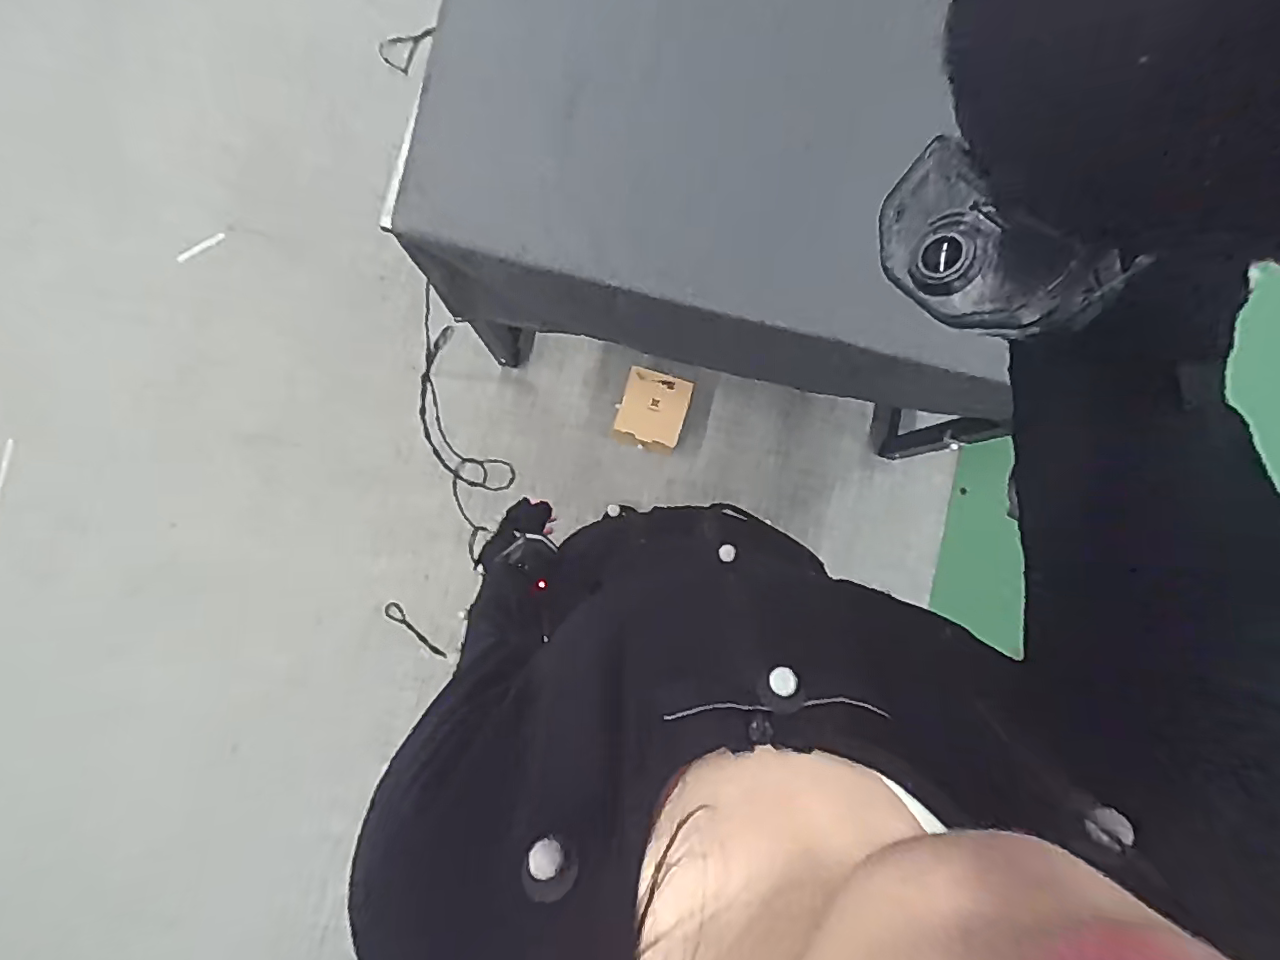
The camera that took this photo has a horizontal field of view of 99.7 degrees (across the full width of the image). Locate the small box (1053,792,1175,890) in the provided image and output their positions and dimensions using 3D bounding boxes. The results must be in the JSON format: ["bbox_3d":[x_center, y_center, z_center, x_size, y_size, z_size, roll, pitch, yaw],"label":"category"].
[{"bbox_3d":[1.238,0.953,1.423,0.179,0.176,0.168,11,85,-3],"label":"small box"}]

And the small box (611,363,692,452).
[{"bbox_3d":[0.028,-0.182,1.429,0.168,0.176,0.179,17,85,-2],"label":"small box"}]
